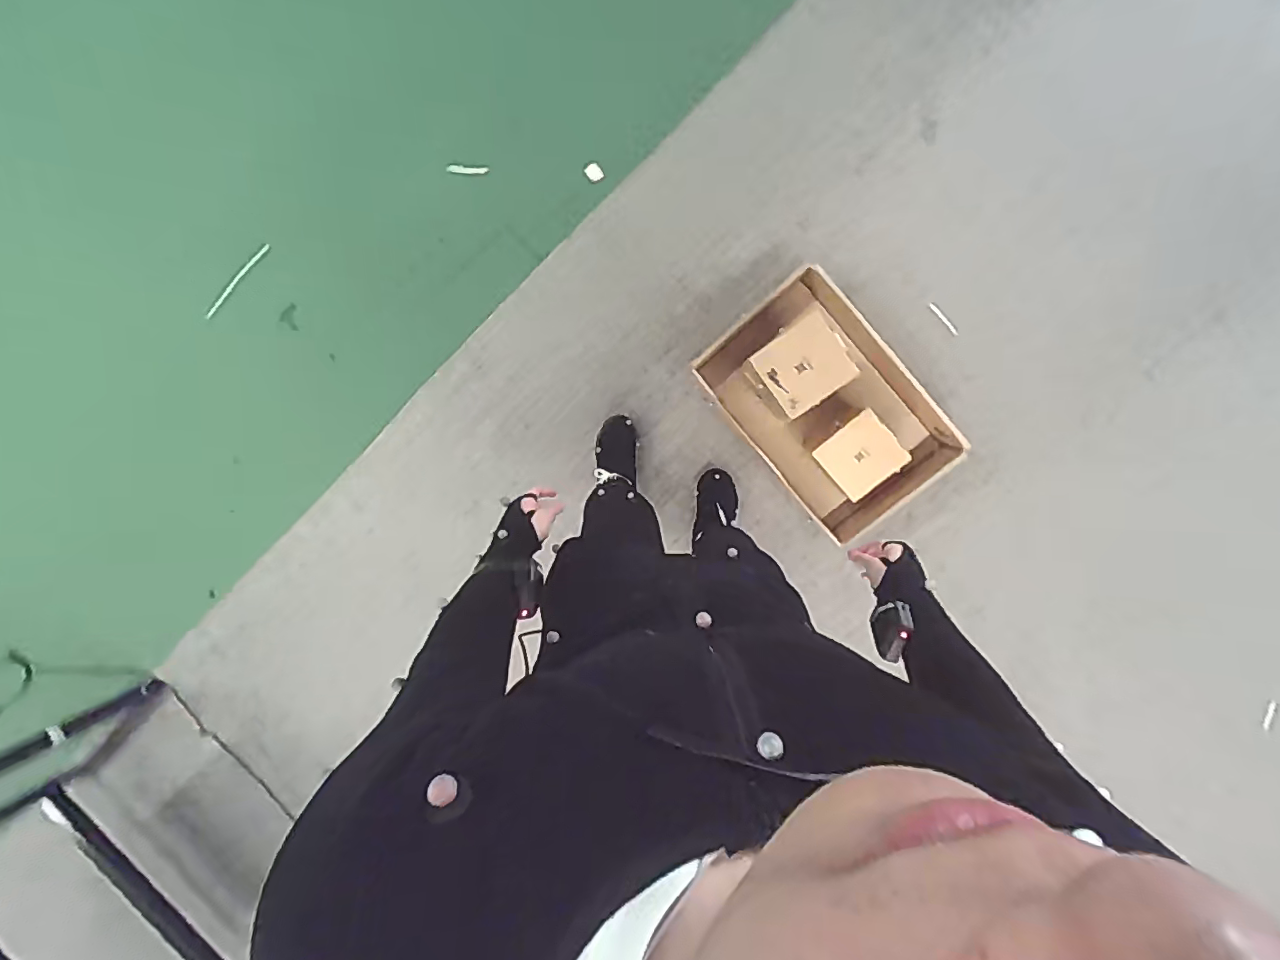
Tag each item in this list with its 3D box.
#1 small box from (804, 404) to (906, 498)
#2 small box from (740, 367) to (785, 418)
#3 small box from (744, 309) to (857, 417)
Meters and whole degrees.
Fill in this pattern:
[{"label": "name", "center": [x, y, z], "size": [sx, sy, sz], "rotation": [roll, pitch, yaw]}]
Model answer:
[{"label": "small box", "center": [0.547, -0.078, 1.412], "size": [0.179, 0.176, 0.168], "rotation": [-41, 91, 10]}, {"label": "small box", "center": [0.376, -0.278, 1.404], "size": [0.179, 0.176, 0.168], "rotation": [-41, 93, 10]}, {"label": "small box", "center": [0.357, -0.262, 1.241], "size": [0.179, 0.176, 0.168], "rotation": [-35, 93, 9]}]
